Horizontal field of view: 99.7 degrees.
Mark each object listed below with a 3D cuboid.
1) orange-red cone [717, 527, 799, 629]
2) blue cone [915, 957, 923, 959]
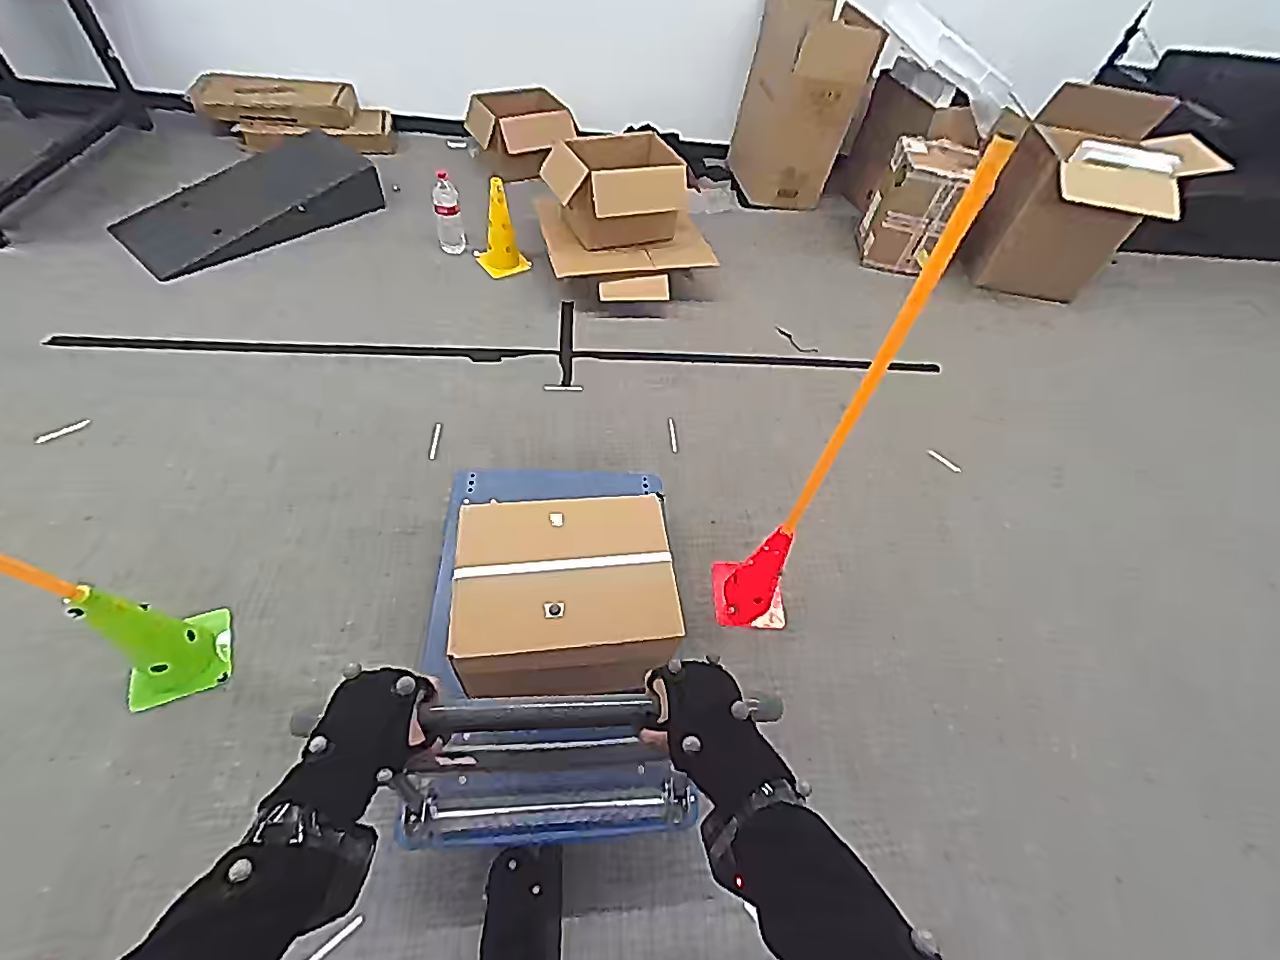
[{"bbox_3d":[0.342,0.229,1.422,0.199,0.360,0.198,6,53,-5],"label":"orange-red cone"},{"bbox_3d":[0.533,0.960,0.913,0.193,0.380,0.192,-3,52,-10],"label":"blue cone"}]
